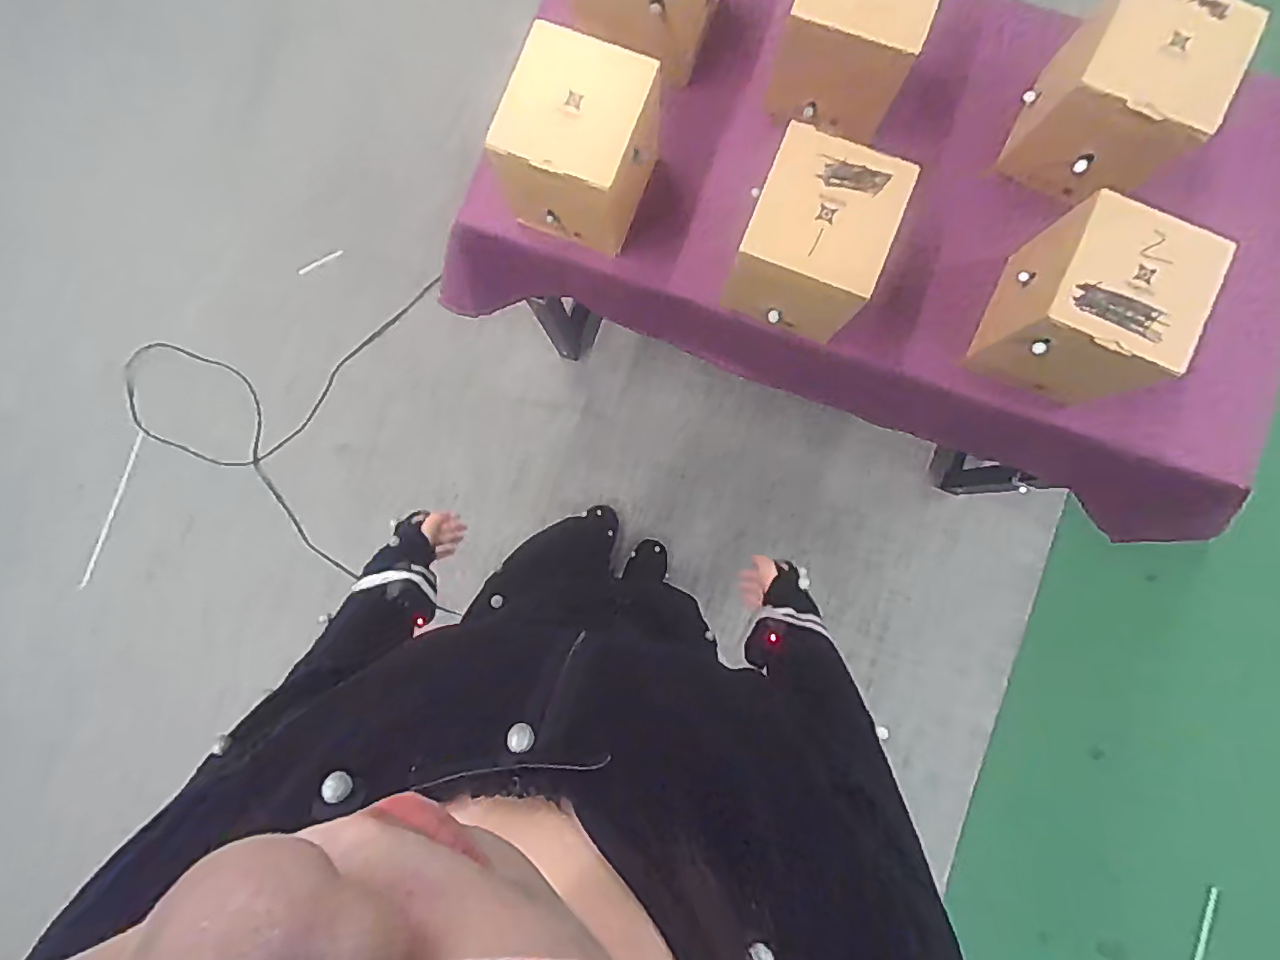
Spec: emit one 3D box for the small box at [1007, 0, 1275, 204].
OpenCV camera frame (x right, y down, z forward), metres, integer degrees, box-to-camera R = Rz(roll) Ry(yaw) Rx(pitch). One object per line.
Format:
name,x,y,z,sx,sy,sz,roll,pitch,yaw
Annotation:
small box,0.631,-0.506,0.710,0.168,0.176,0.179,27,89,3

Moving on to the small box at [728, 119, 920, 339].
small box,0.225,-0.315,0.713,0.168,0.176,0.179,22,88,4

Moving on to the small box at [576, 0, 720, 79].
small box,0.019,-0.706,0.744,0.179,0.176,0.168,21,87,3

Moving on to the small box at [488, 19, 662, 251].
small box,-0.078,-0.451,0.733,0.168,0.176,0.179,21,88,3
